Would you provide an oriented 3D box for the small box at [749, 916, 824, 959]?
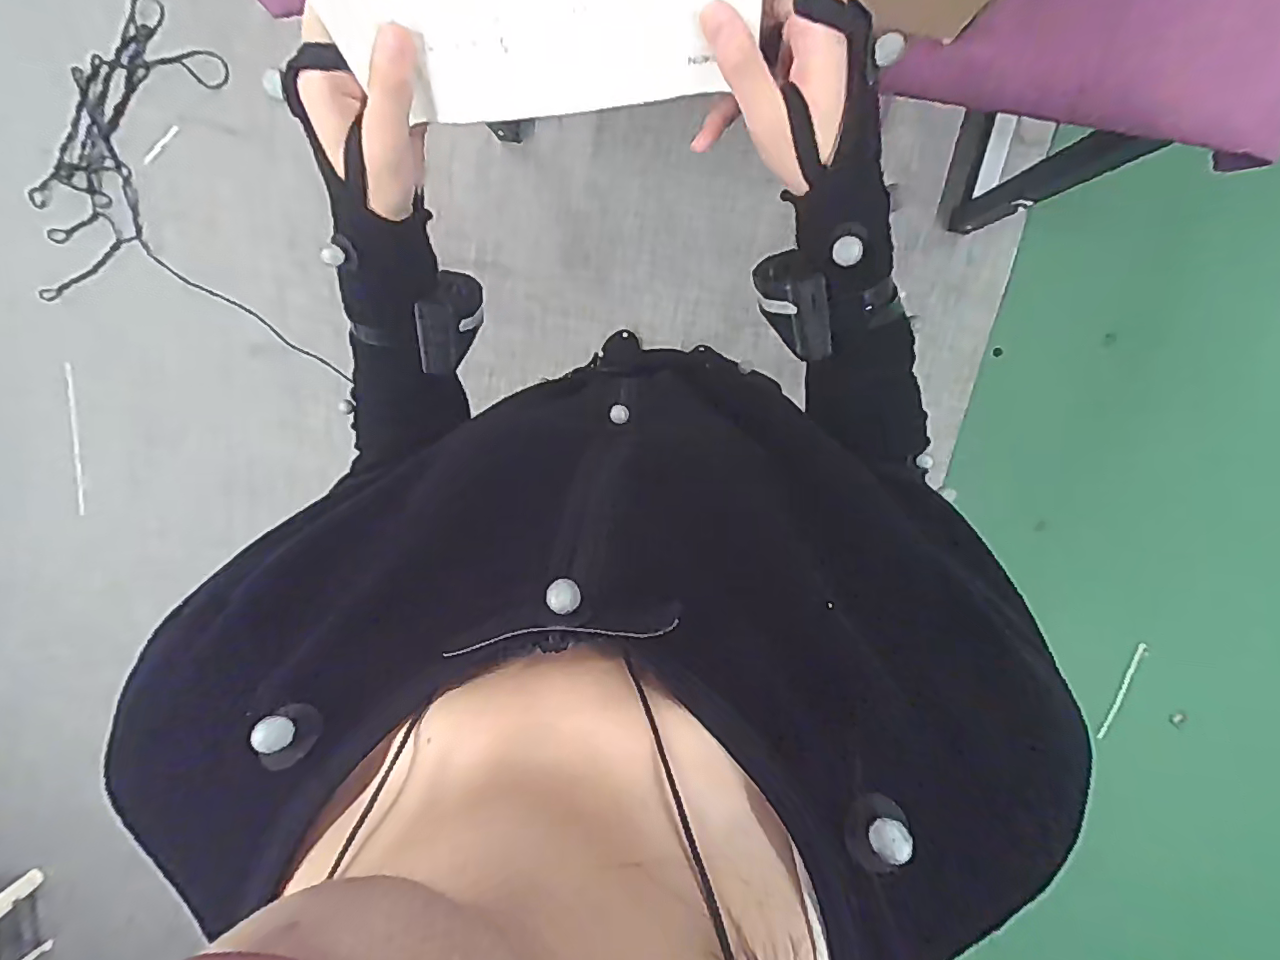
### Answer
[{"bbox_3d":[0.370,1.253,1.364,0.168,0.176,0.179,3,102,5],"label":"small box"}]

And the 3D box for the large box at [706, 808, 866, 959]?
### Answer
[{"bbox_3d":[0.415,1.229,1.609,0.408,0.320,0.320,-3,103,4],"label":"large box"}]
